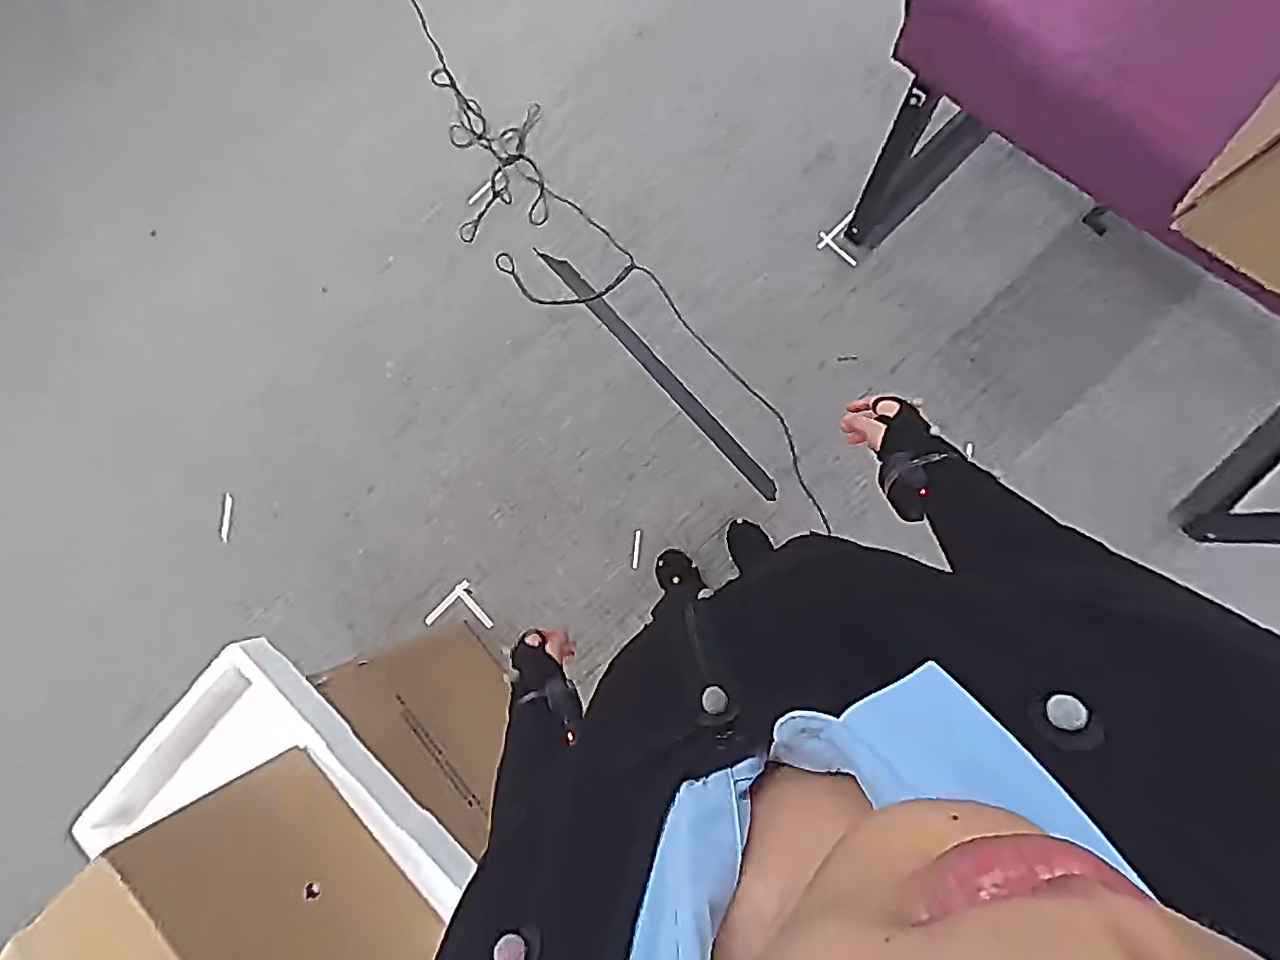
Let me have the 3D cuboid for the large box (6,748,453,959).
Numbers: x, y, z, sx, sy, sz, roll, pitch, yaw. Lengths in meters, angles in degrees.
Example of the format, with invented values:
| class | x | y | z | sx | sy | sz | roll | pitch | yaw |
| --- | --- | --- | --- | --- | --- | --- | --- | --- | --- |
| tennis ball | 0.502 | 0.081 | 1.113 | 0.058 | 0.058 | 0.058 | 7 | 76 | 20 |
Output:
| class | x | y | z | sx | sy | sz | roll | pitch | yaw |
| --- | --- | --- | --- | --- | --- | --- | --- | --- | --- |
| large box | -0.555 | 0.676 | 0.745 | 0.408 | 0.320 | 0.320 | 43 | 92 | 7 |
